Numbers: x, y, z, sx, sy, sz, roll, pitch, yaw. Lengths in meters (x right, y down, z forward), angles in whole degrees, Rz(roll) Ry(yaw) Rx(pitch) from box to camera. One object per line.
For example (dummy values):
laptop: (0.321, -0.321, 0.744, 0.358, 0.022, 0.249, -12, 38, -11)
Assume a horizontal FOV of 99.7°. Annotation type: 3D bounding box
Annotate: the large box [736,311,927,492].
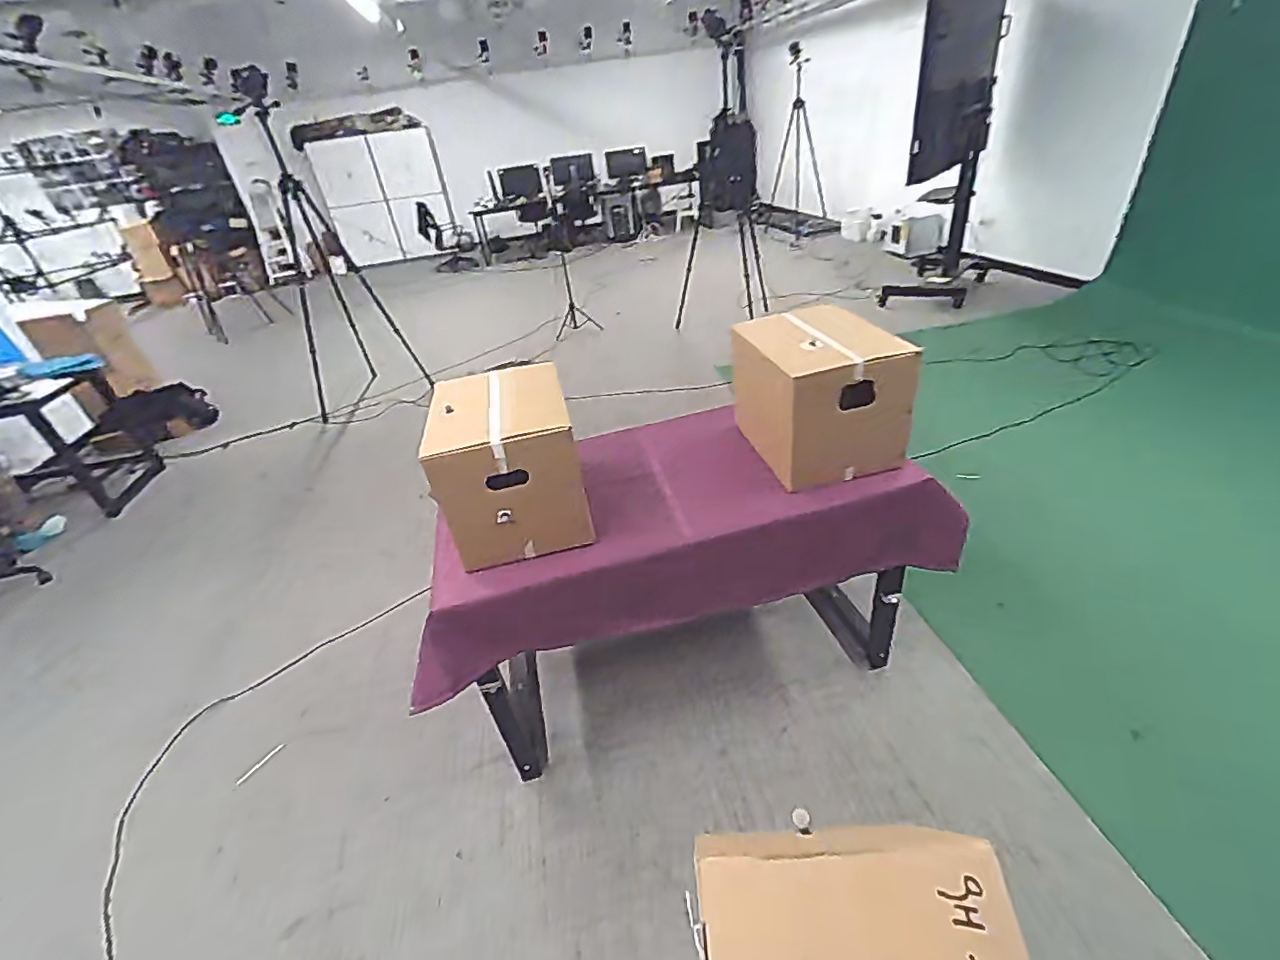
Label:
large box: (0.469, -0.223, 1.437, 0.320, 0.320, 0.408, -12, 34, -6)
